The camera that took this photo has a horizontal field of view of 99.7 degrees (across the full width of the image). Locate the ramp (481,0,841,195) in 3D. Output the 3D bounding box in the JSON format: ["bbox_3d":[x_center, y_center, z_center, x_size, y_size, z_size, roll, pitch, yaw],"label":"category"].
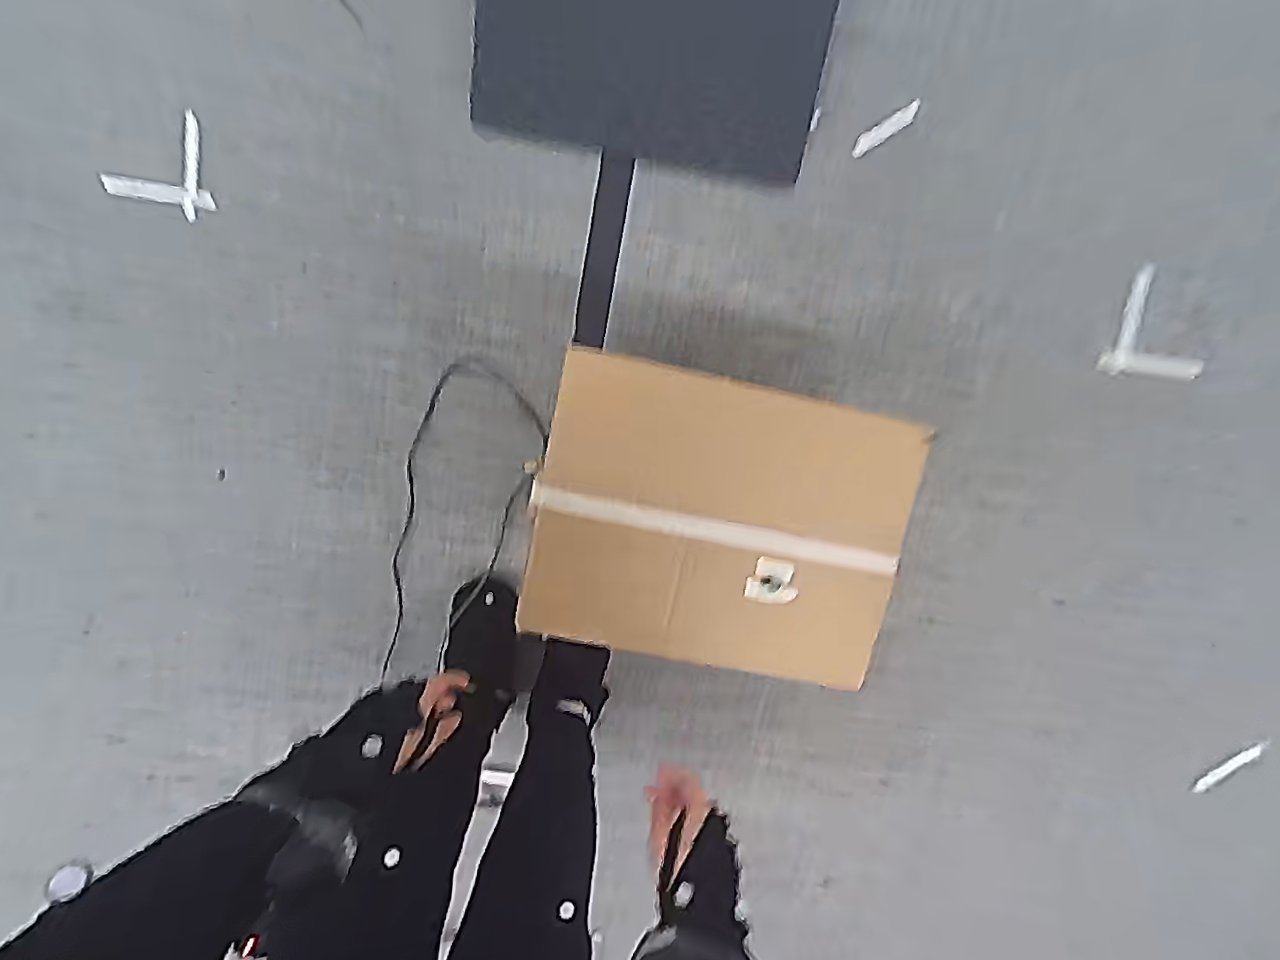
[{"bbox_3d":[0.086,-0.939,0.667,0.509,0.206,0.991,8,98,-4],"label":"ramp"}]

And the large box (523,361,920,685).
[{"bbox_3d":[0.080,0.039,0.750,0.408,0.320,0.320,12,98,-5],"label":"large box"}]
